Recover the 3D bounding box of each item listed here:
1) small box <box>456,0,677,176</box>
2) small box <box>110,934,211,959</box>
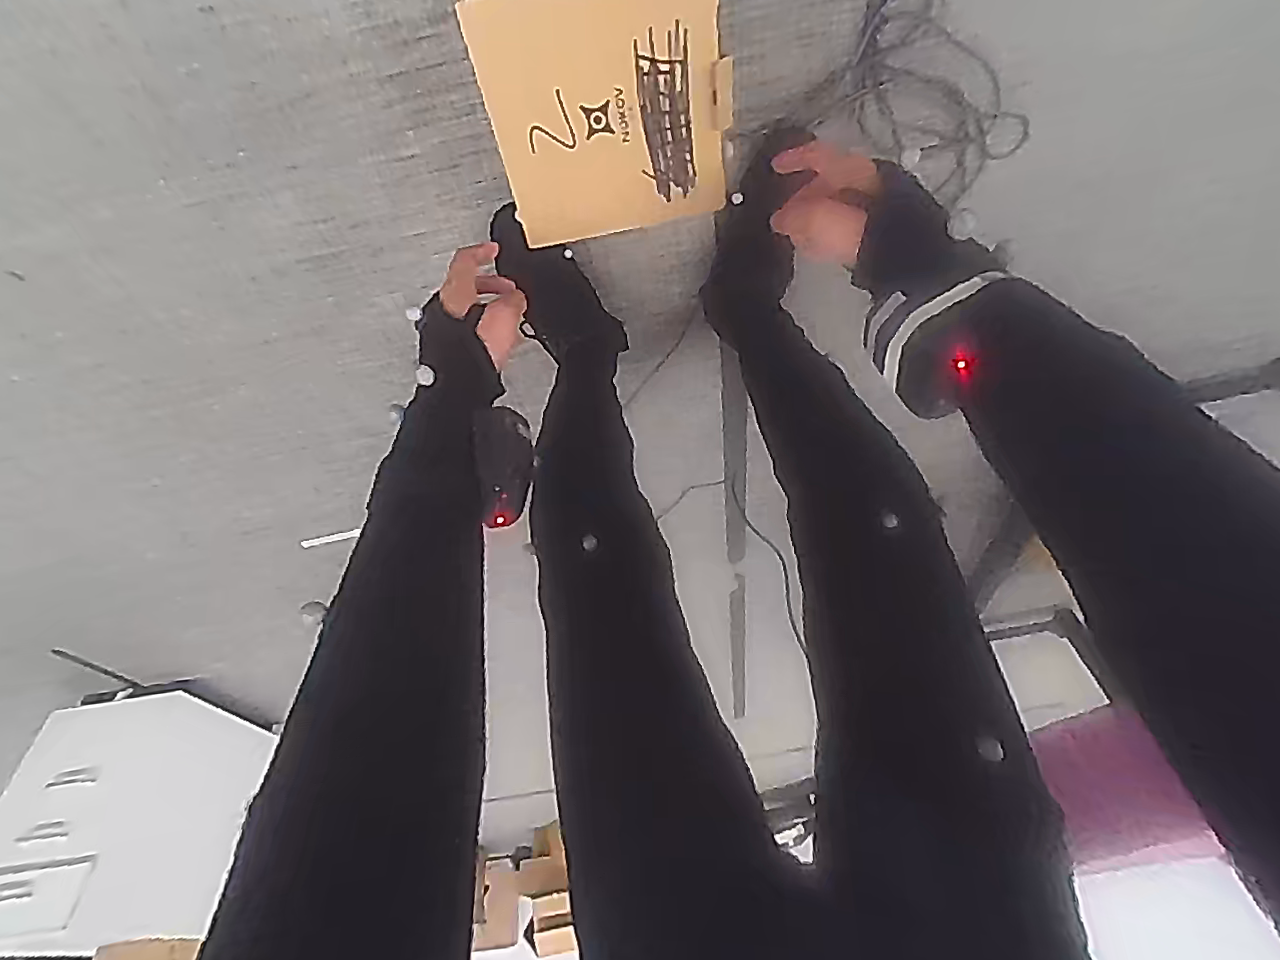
[{"bbox_3d":[-0.068,-0.442,0.550,0.179,0.176,0.168,-12,138,4],"label":"small box"},{"bbox_3d":[-1.349,1.376,1.492,0.179,0.176,0.168,-11,139,3],"label":"small box"}]
